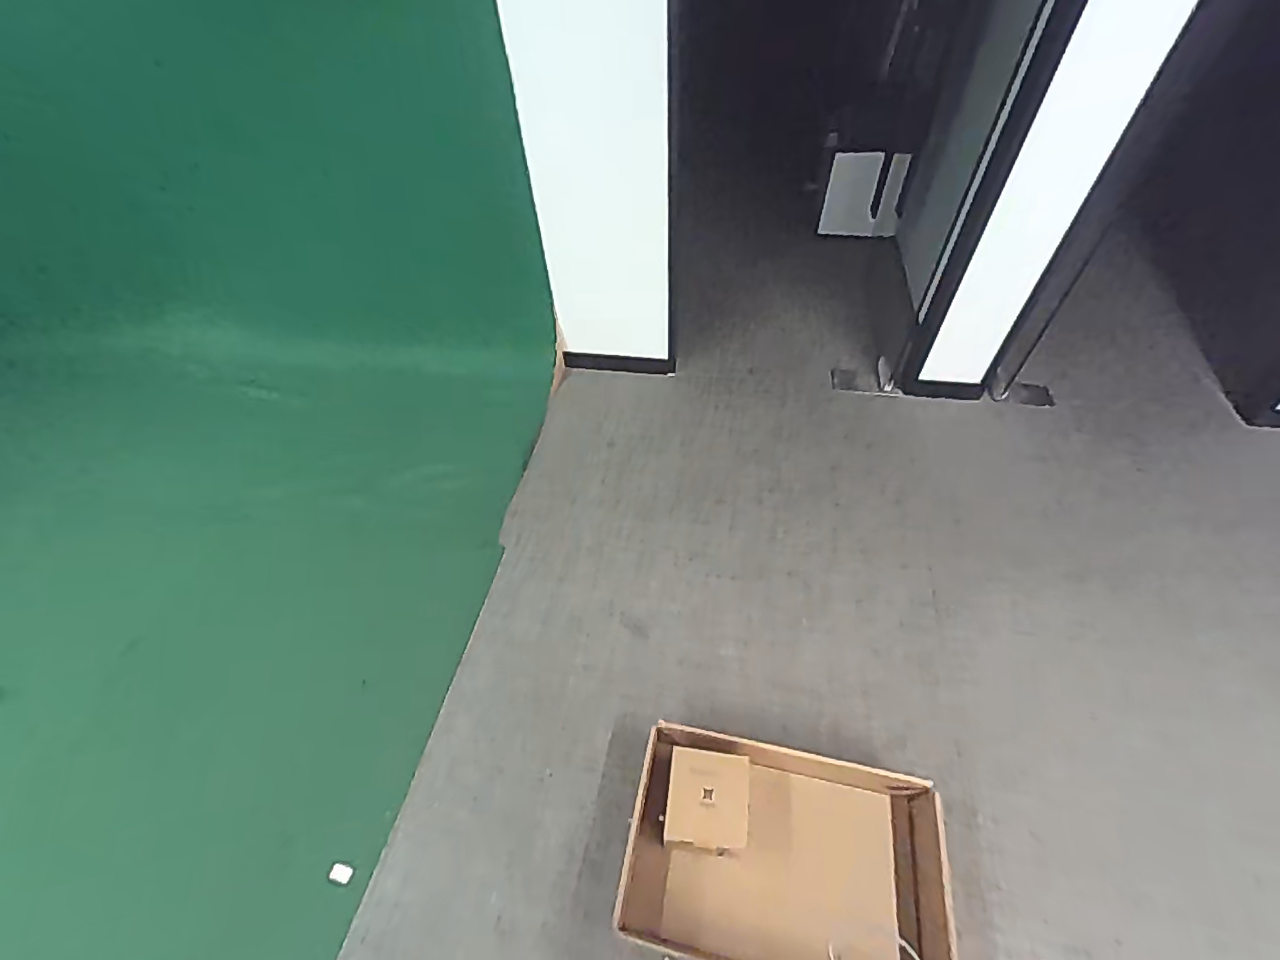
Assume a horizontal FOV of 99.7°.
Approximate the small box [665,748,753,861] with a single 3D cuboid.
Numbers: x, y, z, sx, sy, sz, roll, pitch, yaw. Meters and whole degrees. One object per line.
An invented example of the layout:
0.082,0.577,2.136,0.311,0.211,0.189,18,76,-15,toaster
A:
0.149,0.705,1.169,0.168,0.176,0.179,6,52,8,small box
